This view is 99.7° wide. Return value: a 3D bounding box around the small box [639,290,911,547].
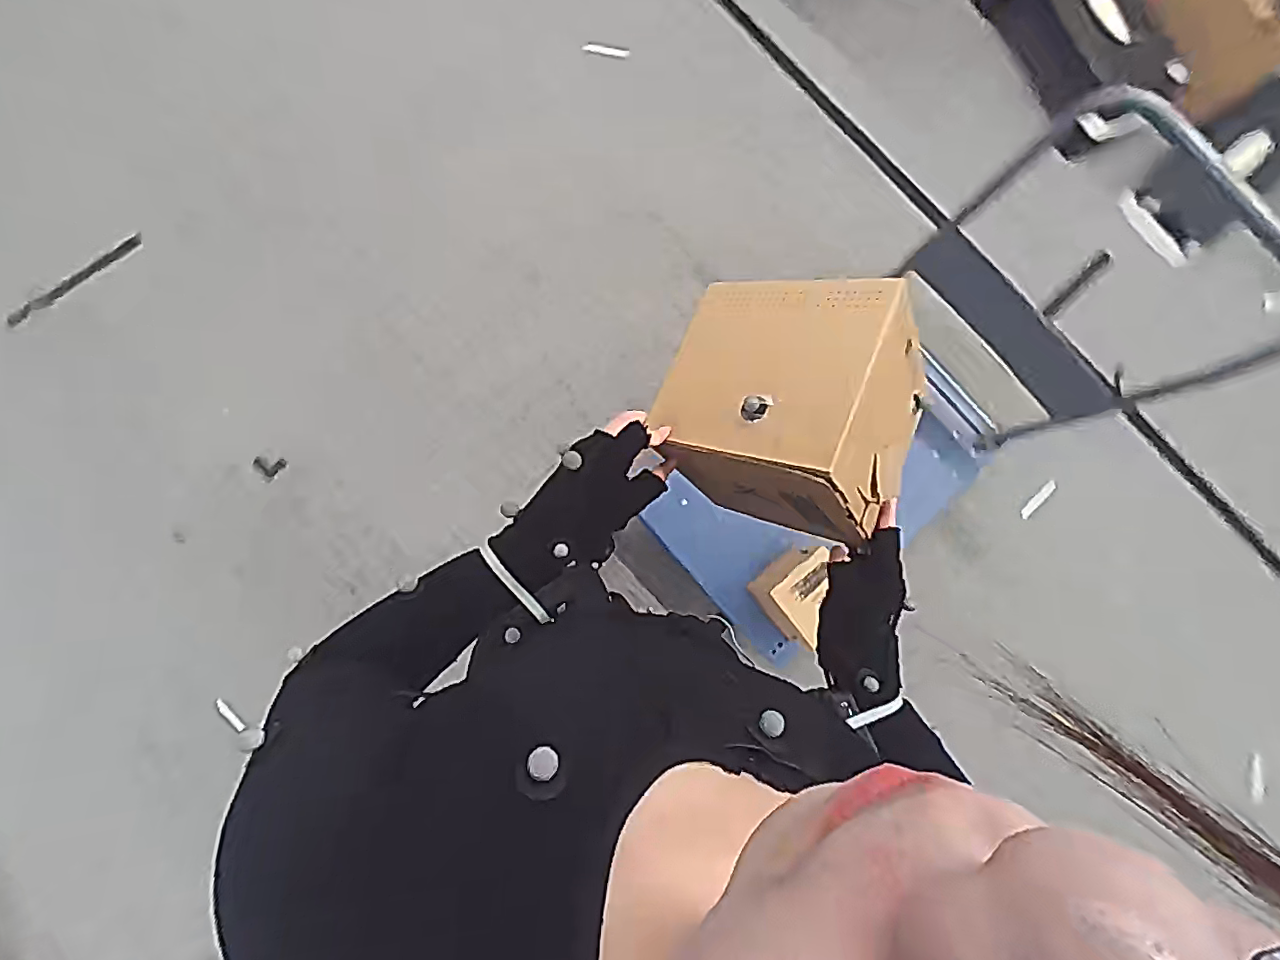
[{"bbox_3d":[0.134,-0.058,0.501,0.179,0.168,0.176,15,76,39],"label":"small box"}]
